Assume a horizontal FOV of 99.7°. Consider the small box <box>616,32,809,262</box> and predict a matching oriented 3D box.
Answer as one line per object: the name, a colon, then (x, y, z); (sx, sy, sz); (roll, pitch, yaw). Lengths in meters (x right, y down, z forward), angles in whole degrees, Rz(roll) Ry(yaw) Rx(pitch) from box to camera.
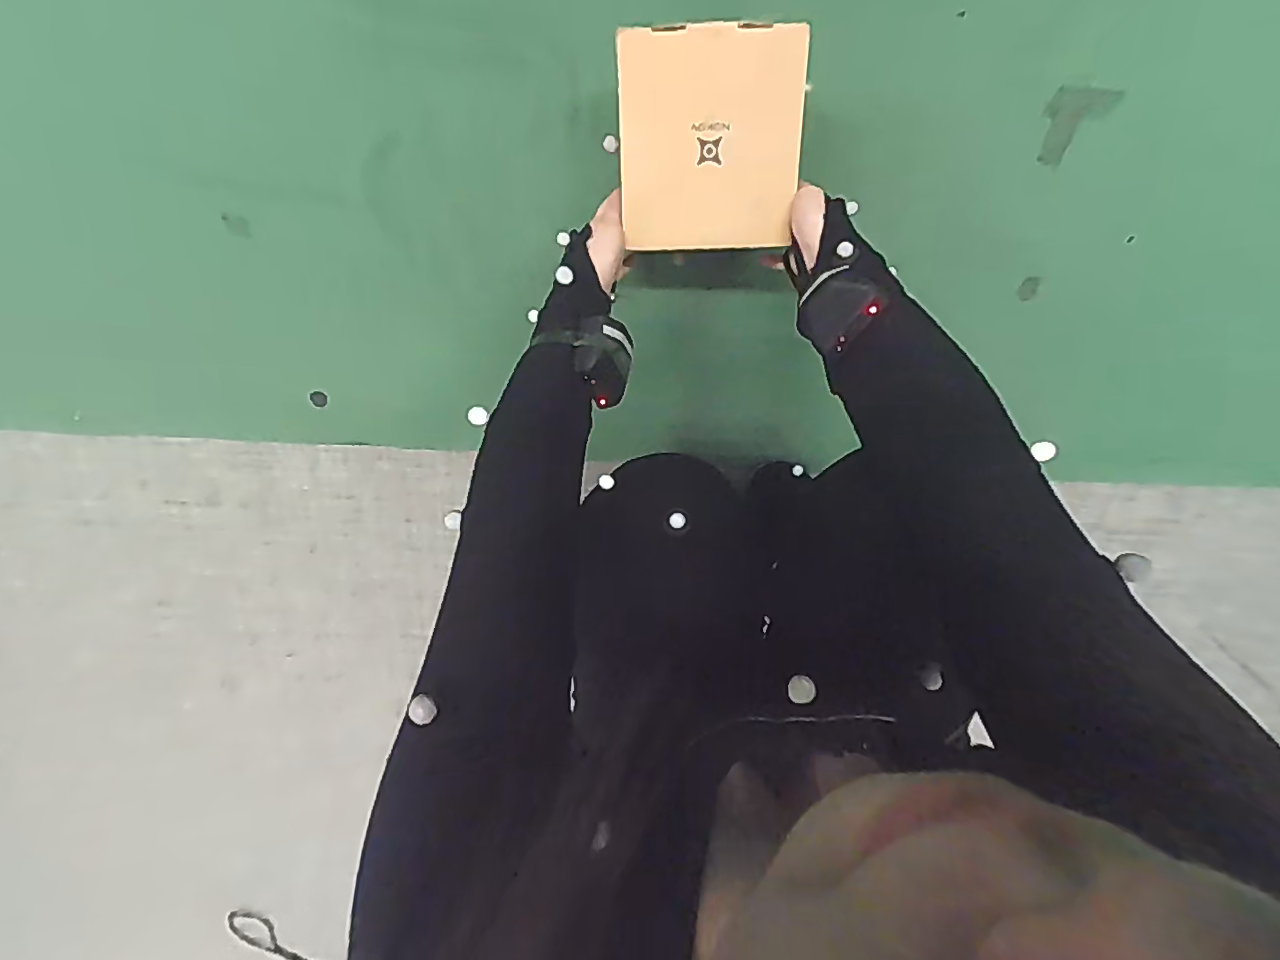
small box: (0.065, -0.324, 0.561); (0.168, 0.176, 0.179); (-2, 111, 1)
